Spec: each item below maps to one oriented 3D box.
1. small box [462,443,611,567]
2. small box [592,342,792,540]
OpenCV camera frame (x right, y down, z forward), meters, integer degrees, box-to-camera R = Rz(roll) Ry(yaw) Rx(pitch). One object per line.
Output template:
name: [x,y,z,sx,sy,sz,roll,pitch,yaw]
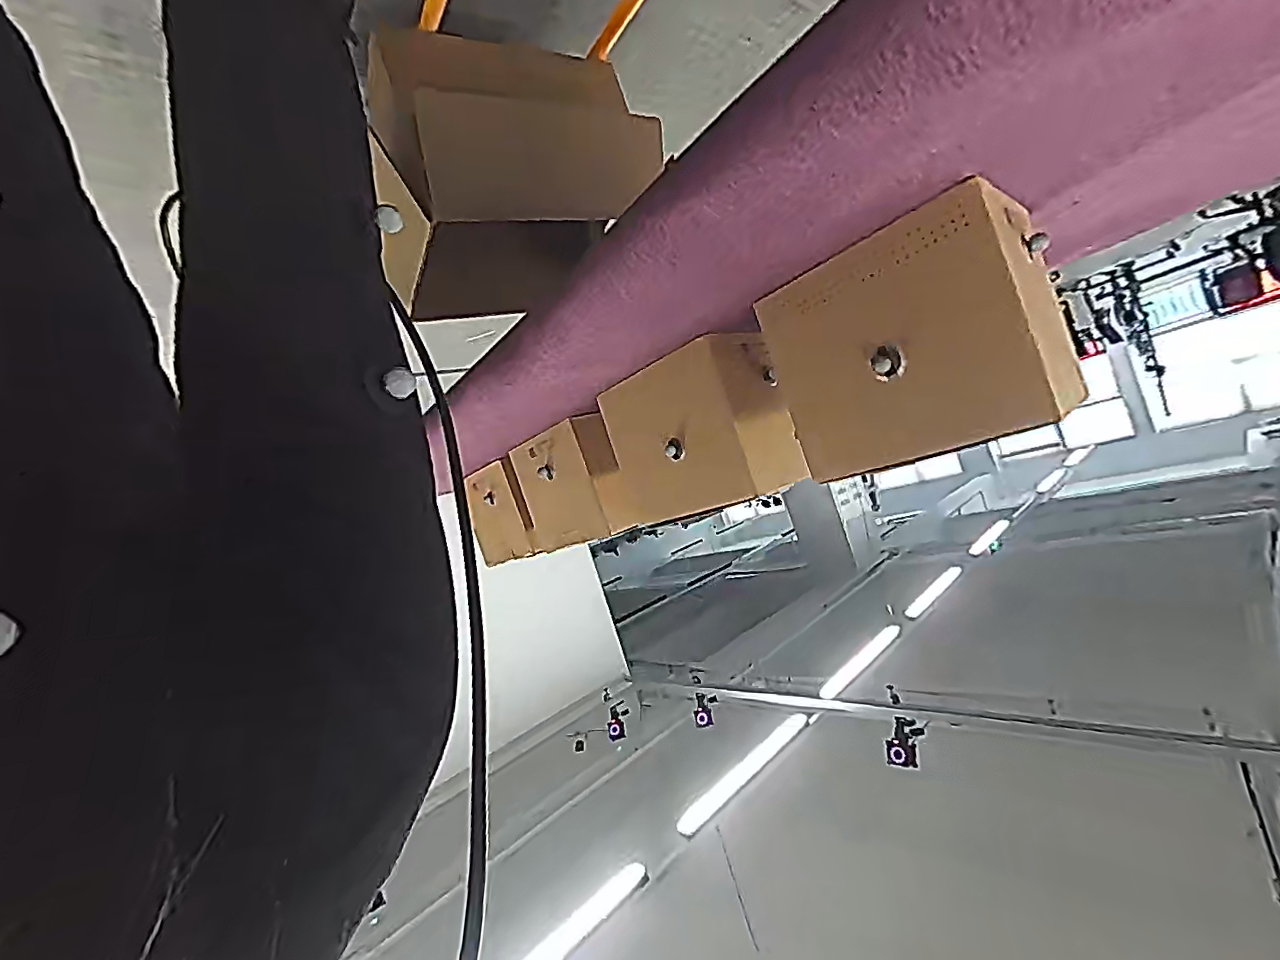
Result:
small box: [-0.187,0.041,0.971,0.179,0.176,0.168,-18,179,-45]
small box: [0.058,-0.034,0.671,0.168,0.176,0.179,23,161,-14]
